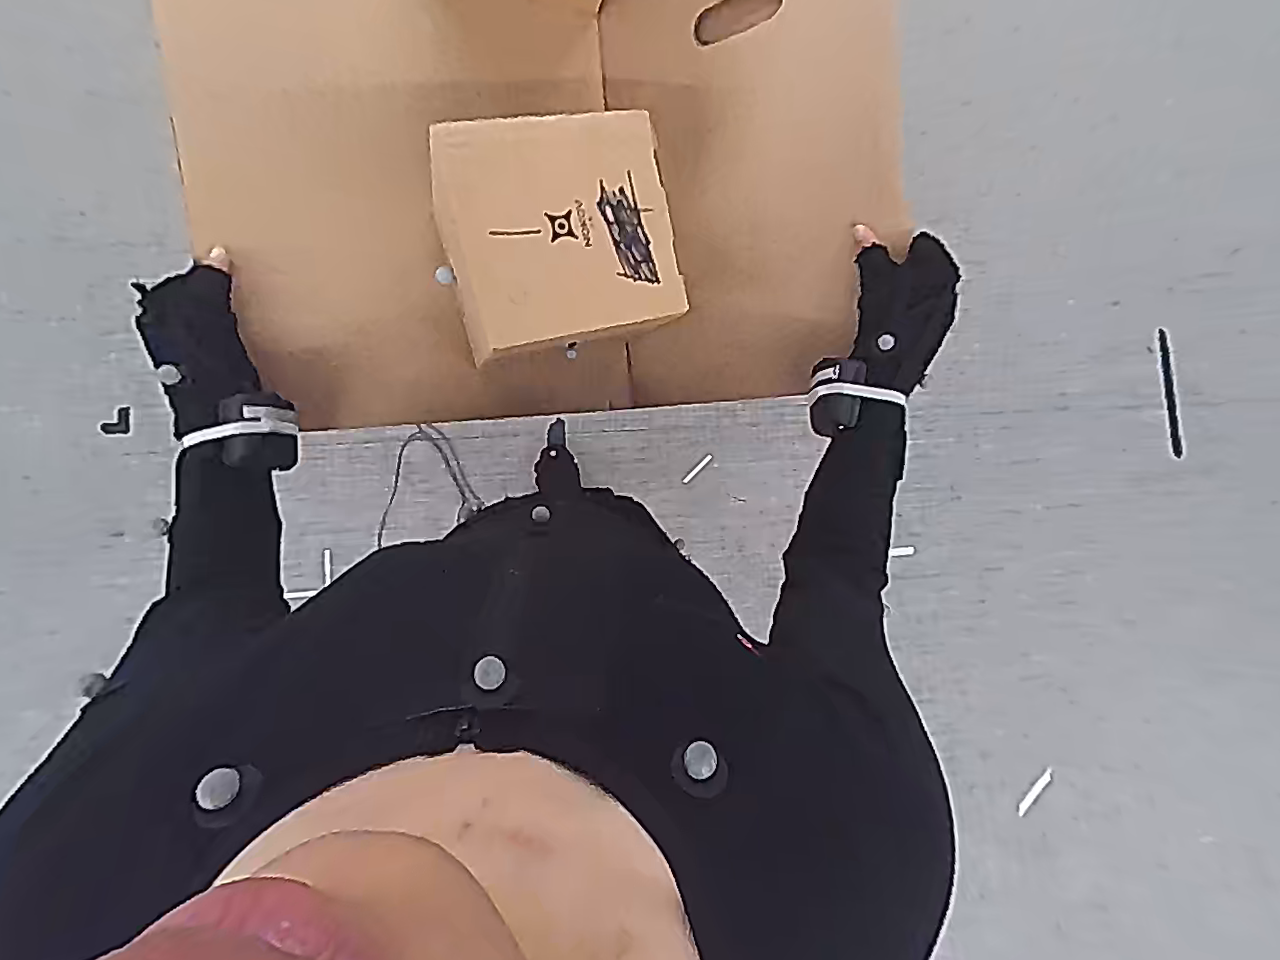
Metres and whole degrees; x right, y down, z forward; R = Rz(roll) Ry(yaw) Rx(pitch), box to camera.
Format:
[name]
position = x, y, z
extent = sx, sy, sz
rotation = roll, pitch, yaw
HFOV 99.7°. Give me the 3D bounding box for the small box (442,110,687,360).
[small box]
position = -0.080, -0.218, 0.514
extent = 0.179, 0.176, 0.168
rotation = -16, 100, -17
